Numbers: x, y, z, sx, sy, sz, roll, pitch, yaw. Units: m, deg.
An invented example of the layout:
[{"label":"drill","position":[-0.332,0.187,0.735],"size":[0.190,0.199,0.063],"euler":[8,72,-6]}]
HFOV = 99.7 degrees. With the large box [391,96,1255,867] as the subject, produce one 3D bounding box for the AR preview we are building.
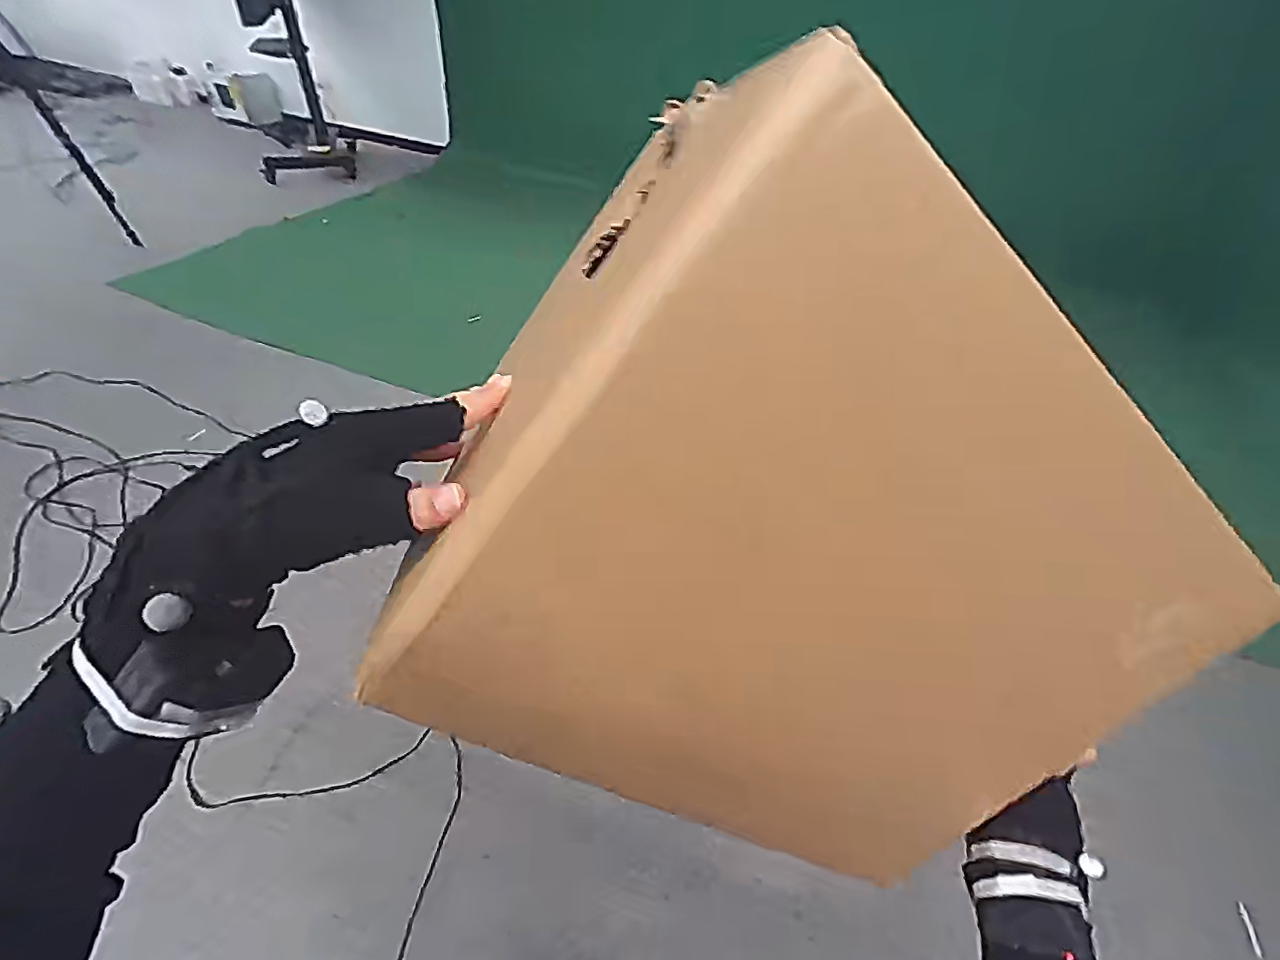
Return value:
[{"label":"large box","position":[0.100,0.019,0.416],"size":[0.408,0.320,0.320],"euler":[34,20,-23]}]
